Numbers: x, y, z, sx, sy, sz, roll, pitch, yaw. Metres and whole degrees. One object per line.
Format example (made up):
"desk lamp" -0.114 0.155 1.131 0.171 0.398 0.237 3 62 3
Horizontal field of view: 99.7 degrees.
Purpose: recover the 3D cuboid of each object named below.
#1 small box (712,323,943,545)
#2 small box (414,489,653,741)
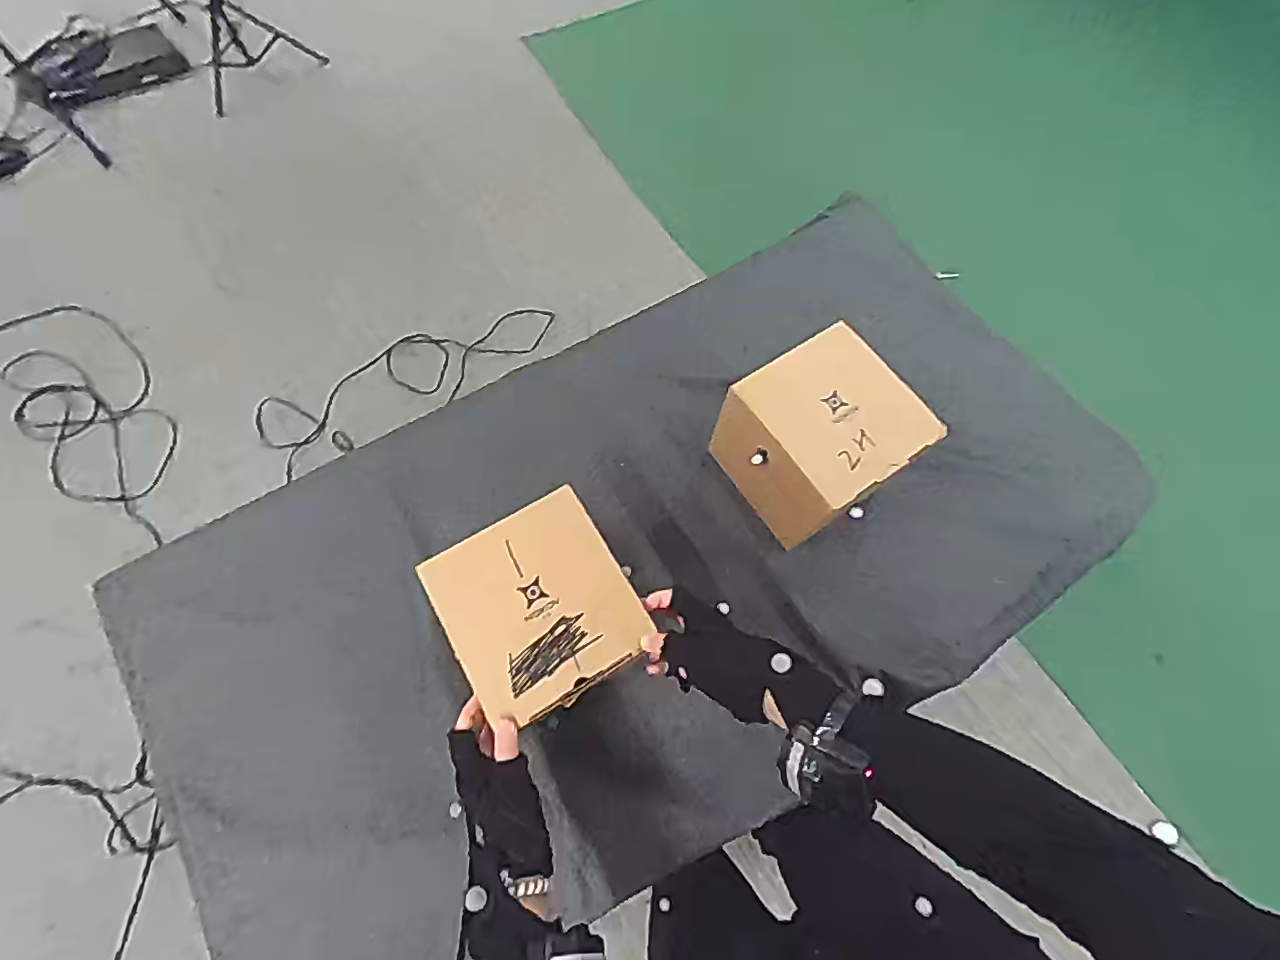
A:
"small box" 0.206 -0.047 0.655 0.168 0.176 0.179 -32 73 -13
"small box" -0.101 0.142 0.570 0.168 0.176 0.179 -29 72 -13
